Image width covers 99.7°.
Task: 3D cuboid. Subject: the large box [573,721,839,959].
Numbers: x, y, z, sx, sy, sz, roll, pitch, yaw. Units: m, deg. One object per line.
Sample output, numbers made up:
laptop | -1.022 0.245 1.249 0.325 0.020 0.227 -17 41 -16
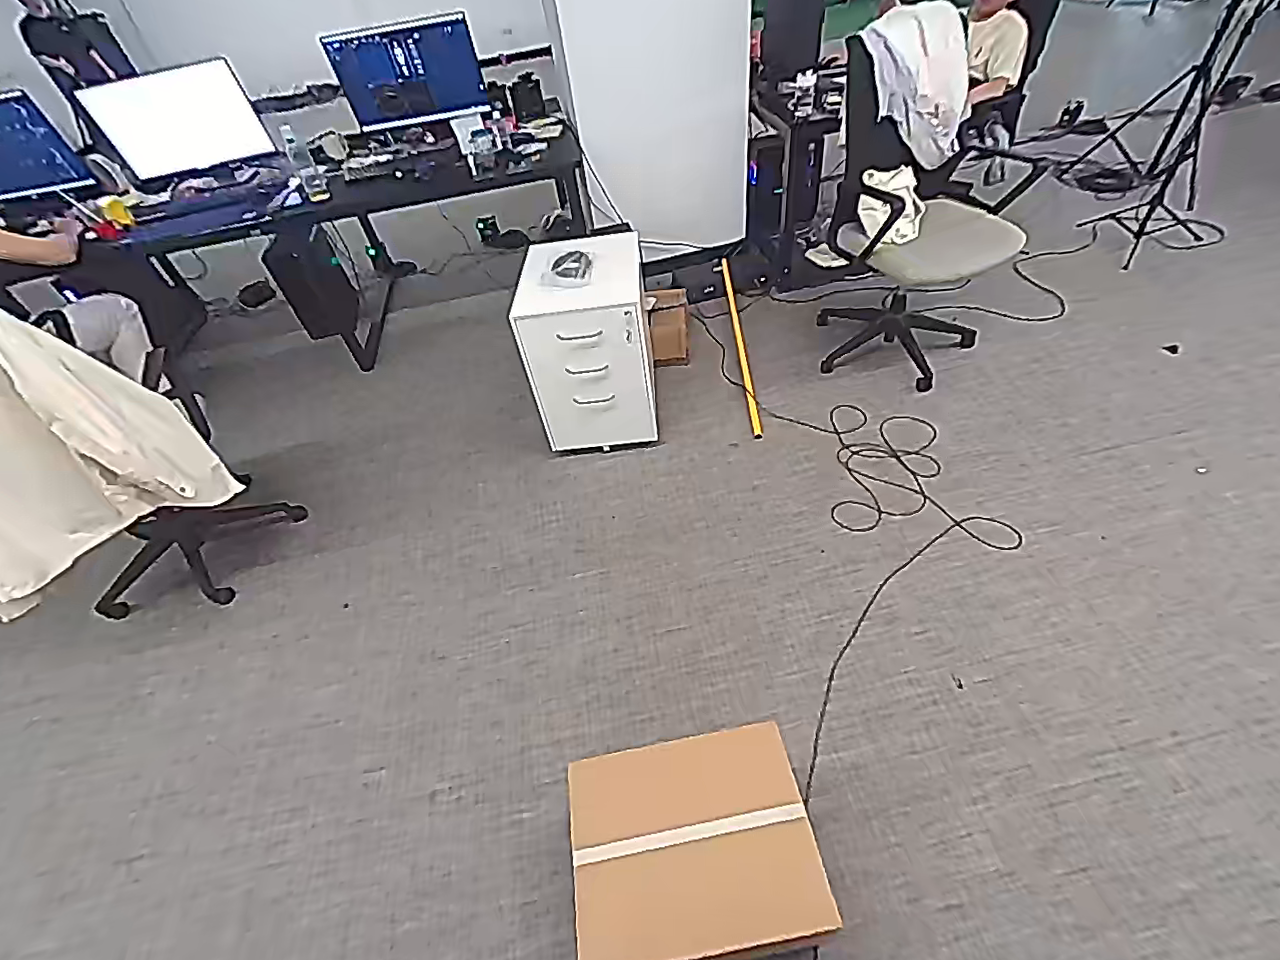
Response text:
large box | 0.107 0.709 1.027 0.408 0.320 0.320 -11 46 -1
